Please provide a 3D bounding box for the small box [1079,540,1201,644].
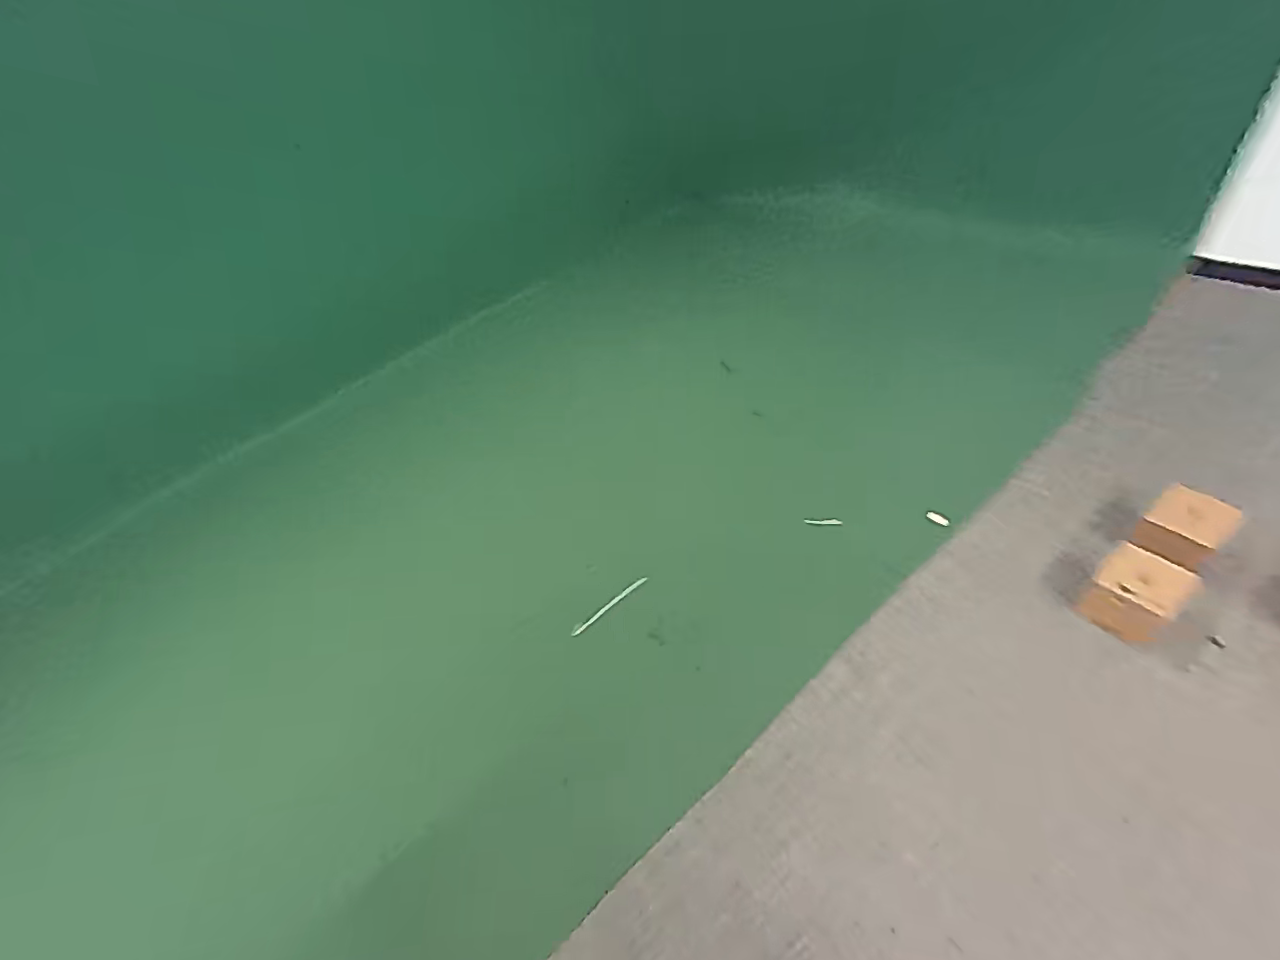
[{"bbox_3d":[1.339,0.303,1.461,0.179,0.176,0.168,-36,47,-18],"label":"small box"}]
